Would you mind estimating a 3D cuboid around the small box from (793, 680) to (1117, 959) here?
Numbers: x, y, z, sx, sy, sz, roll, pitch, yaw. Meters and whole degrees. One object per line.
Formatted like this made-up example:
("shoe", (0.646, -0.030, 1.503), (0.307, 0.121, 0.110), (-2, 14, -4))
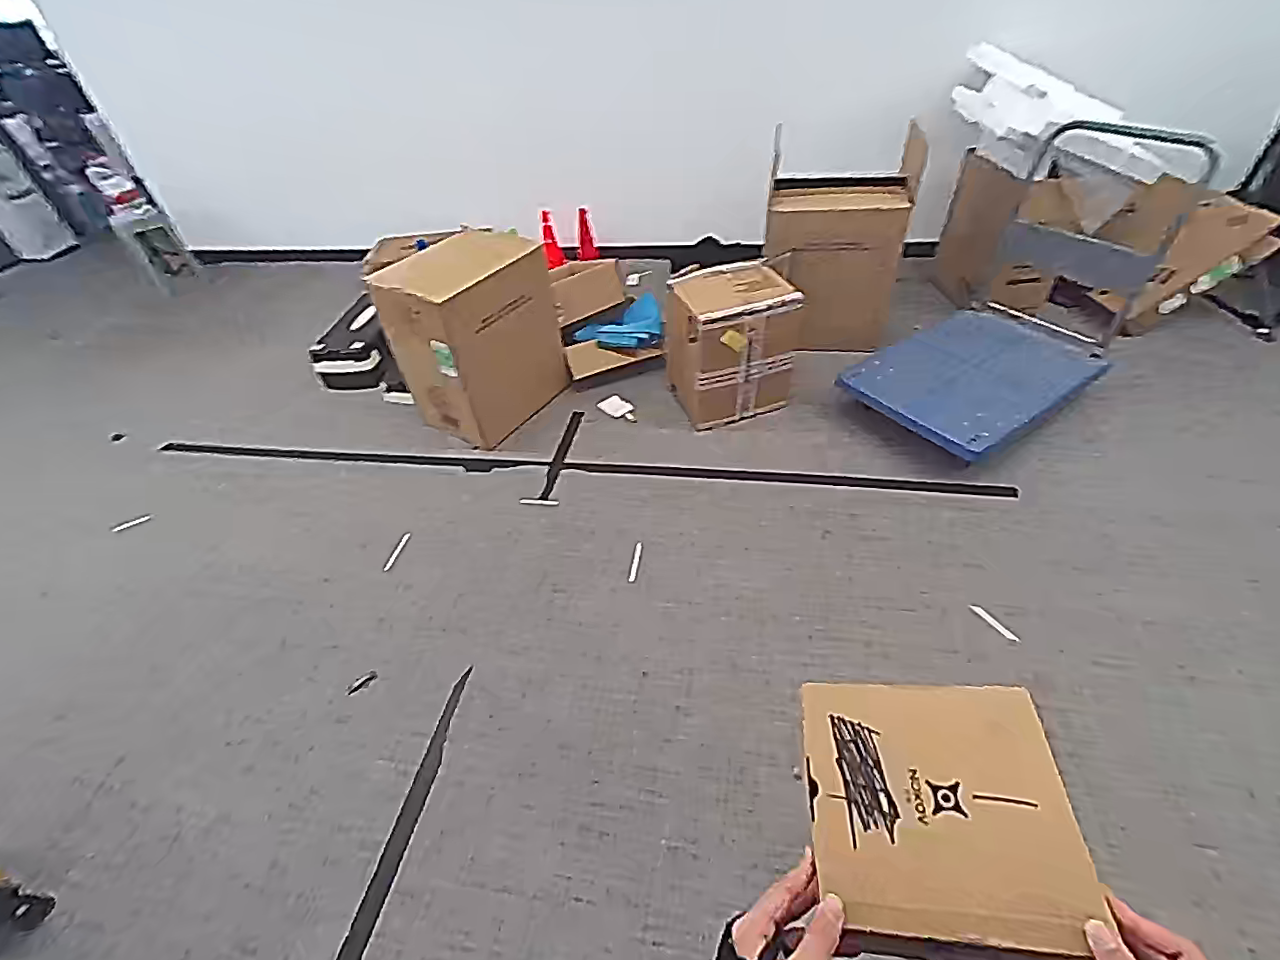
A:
("small box", (0.226, 0.280, 0.446), (0.179, 0.176, 0.168), (-5, 46, 14))
